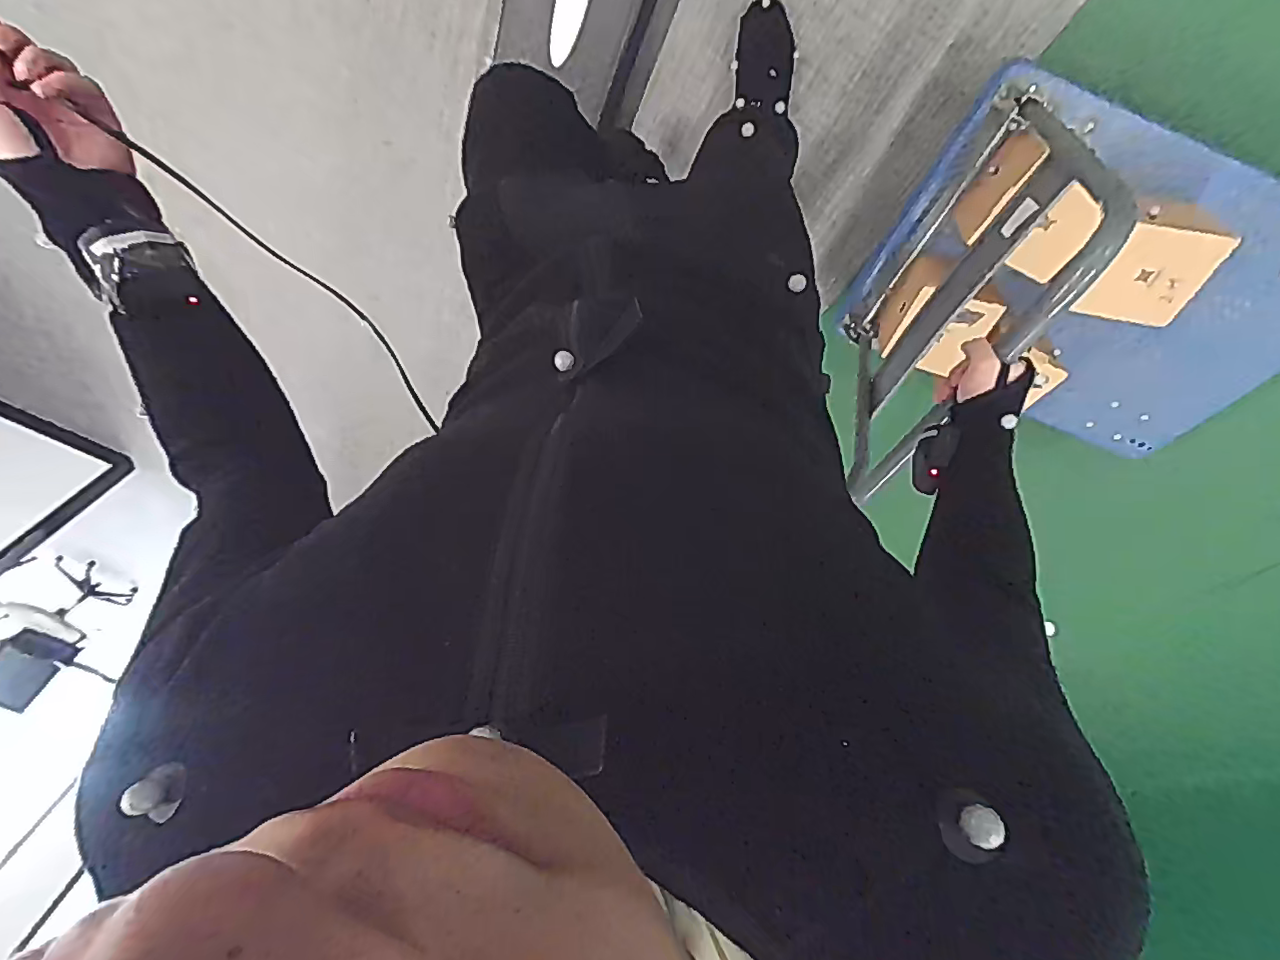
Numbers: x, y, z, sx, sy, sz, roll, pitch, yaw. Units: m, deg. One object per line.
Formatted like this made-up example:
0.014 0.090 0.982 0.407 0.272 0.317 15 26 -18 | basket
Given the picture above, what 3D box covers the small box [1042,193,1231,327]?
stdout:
0.901 -0.413 1.007 0.179 0.176 0.168 13 137 6 | small box
